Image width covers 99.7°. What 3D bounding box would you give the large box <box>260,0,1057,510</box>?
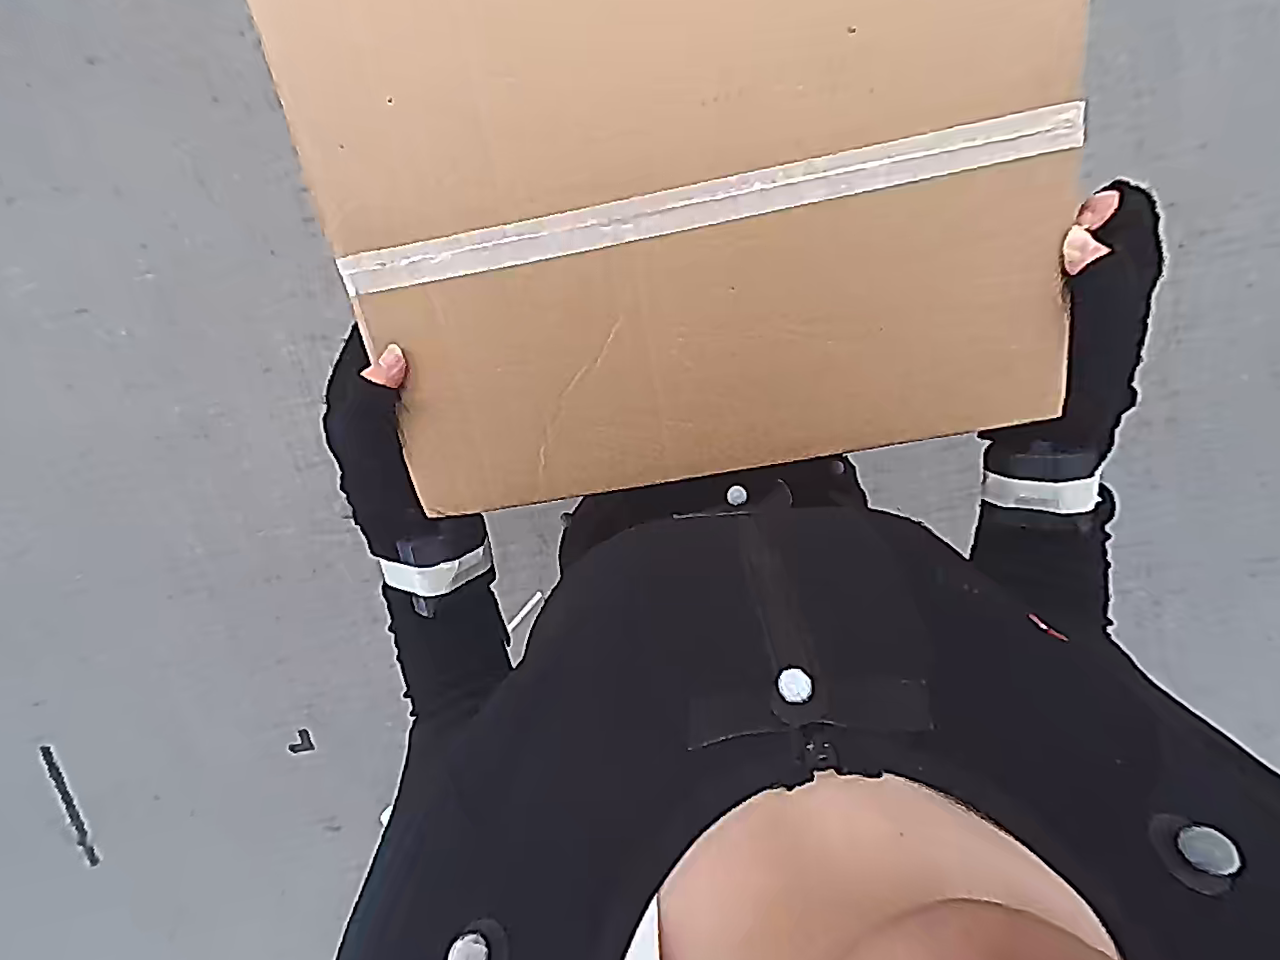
[{"bbox_3d":[0.029,-0.205,0.447,0.408,0.320,0.320,-9,109,5],"label":"large box"}]
